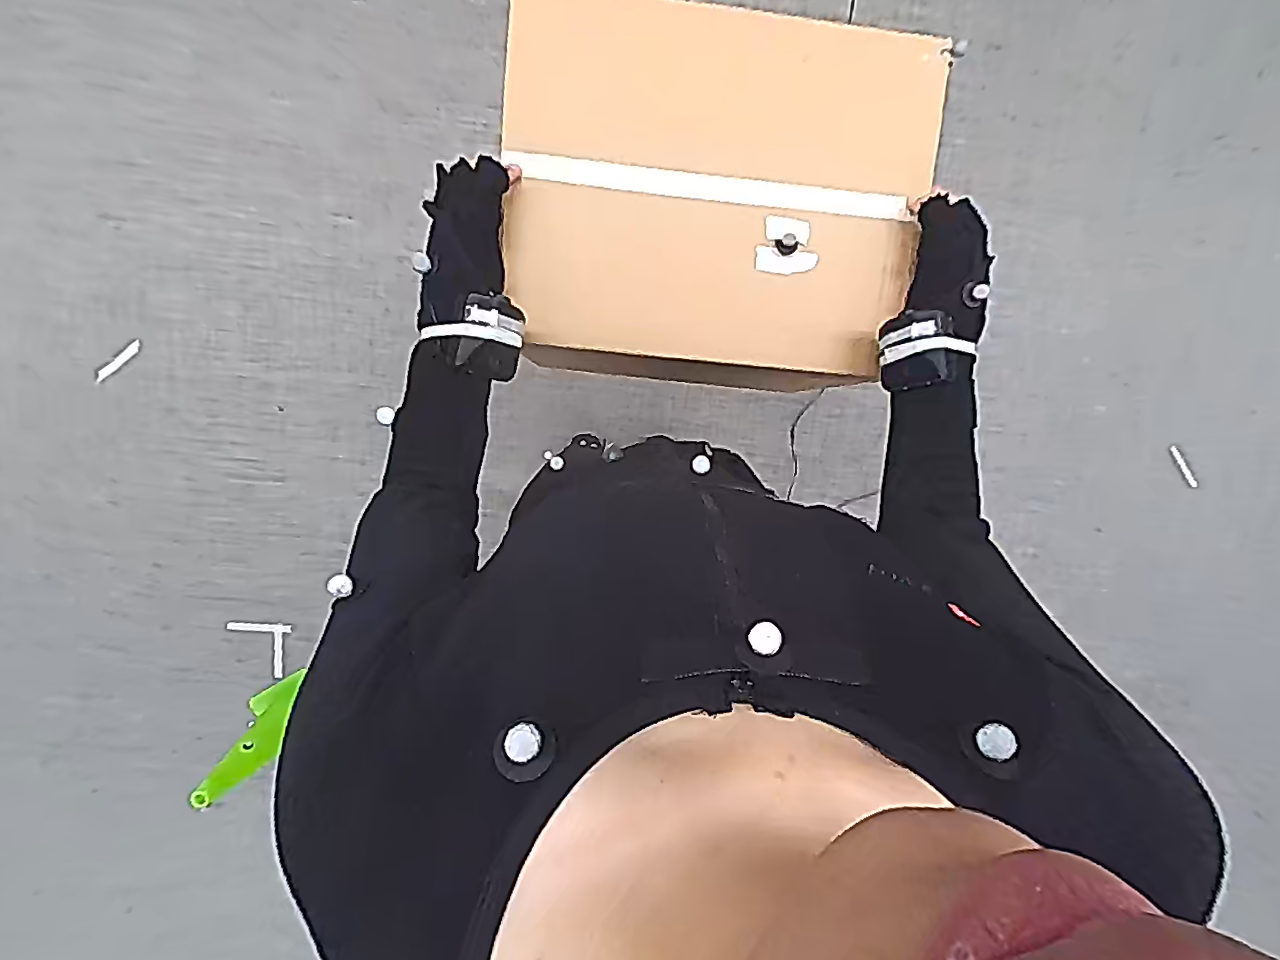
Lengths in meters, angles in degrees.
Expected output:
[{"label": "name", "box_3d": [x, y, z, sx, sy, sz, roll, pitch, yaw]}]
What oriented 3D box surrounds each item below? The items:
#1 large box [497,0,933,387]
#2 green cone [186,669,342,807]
[{"label": "large box", "box_3d": [0.059, -0.291, 0.658, 0.408, 0.320, 0.320, 4, 97, -5]}, {"label": "green cone", "box_3d": [-0.967, 0.671, 1.354, 0.202, 0.368, 0.200, -31, 95, 4]}]
